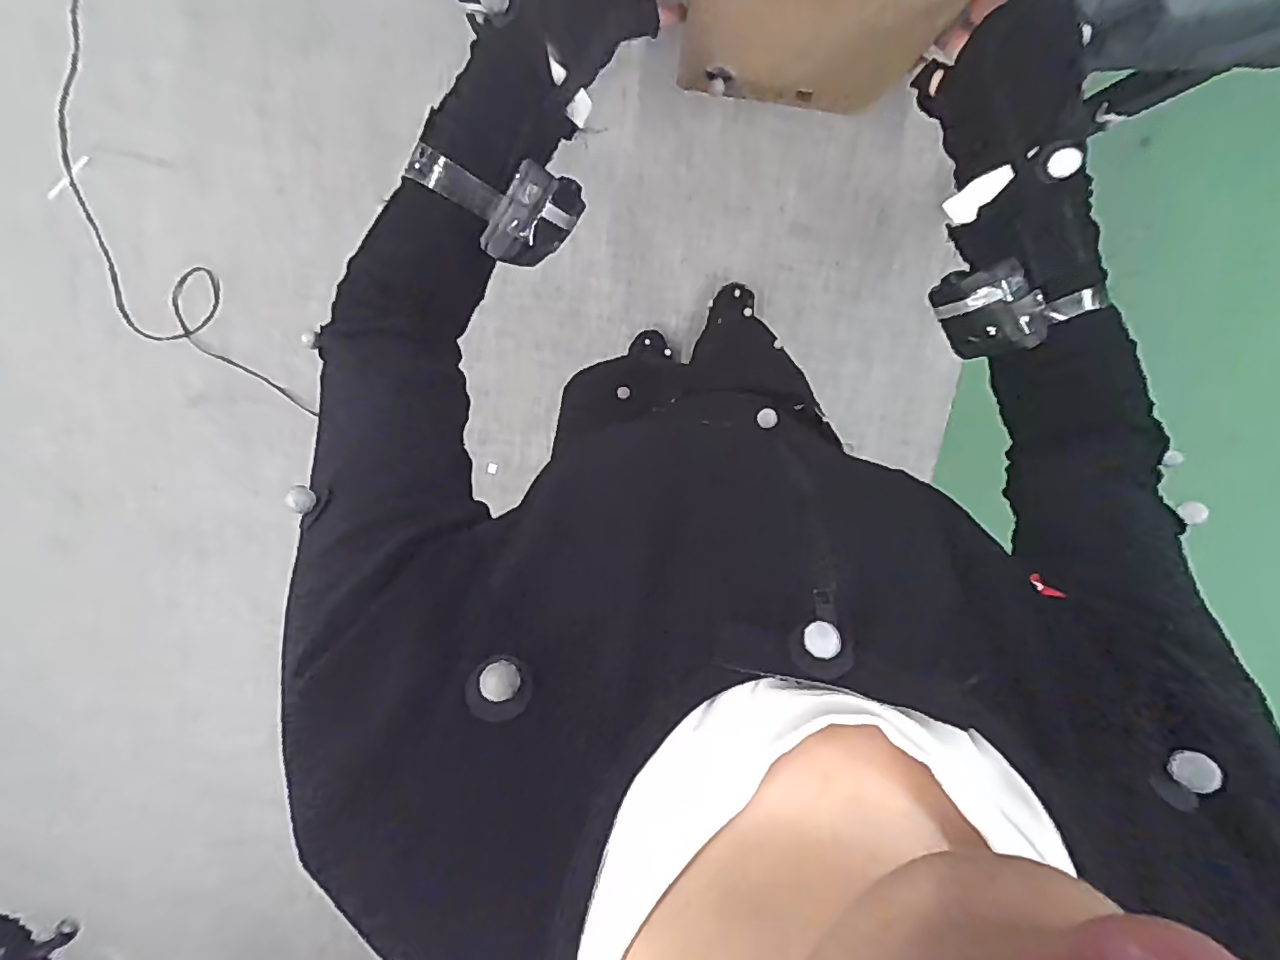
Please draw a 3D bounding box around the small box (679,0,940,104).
[{"bbox_3d":[0.122,-0.391,0.359,0.168,0.176,0.179,7,100,-3],"label":"small box"}]
